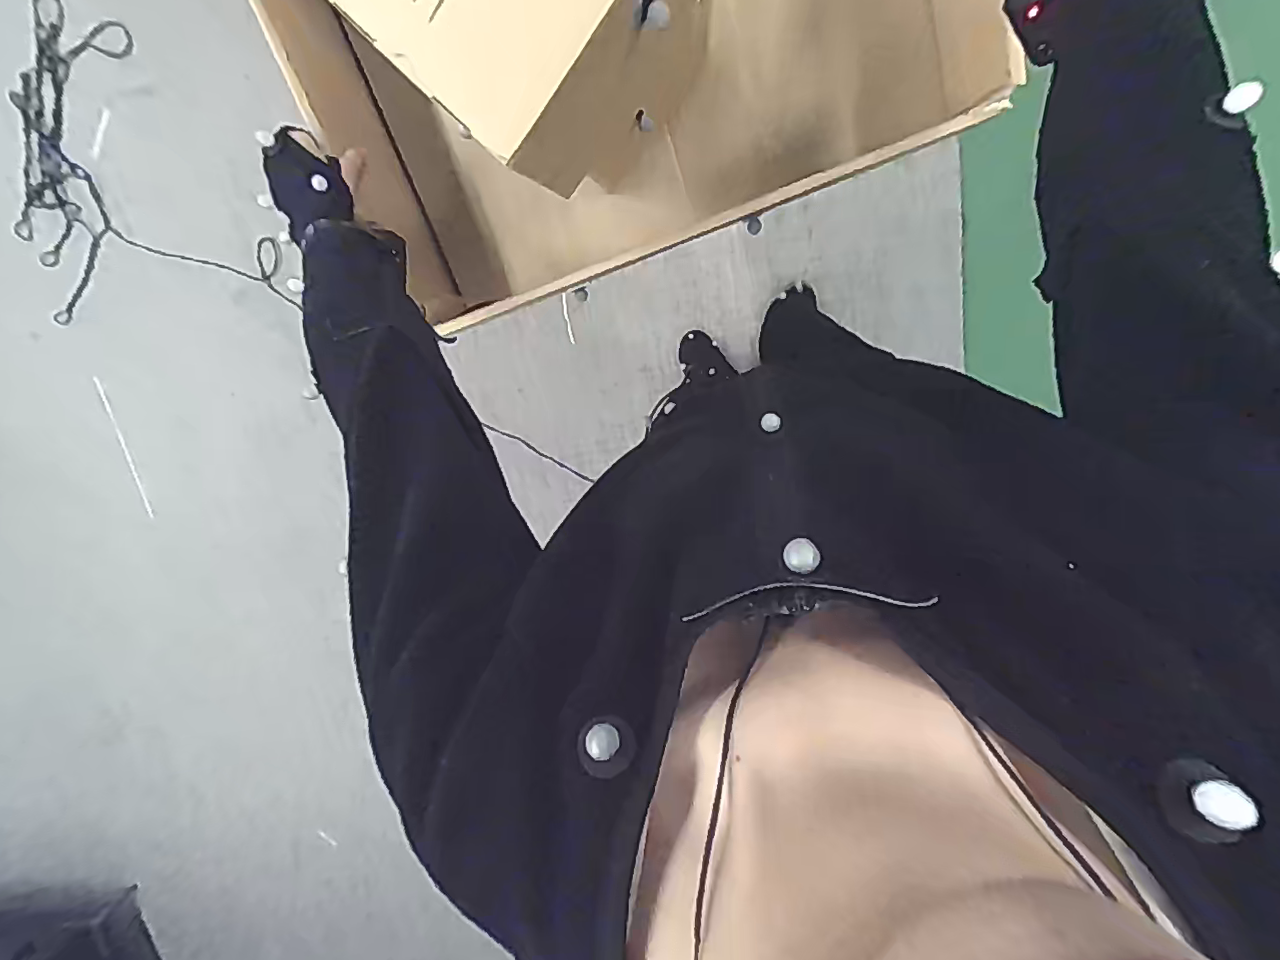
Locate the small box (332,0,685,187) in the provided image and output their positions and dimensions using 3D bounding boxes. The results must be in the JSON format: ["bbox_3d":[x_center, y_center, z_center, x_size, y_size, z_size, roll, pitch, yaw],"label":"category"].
[{"bbox_3d":[-0.081,-0.338,0.371,0.168,0.176,0.179,42,111,-9],"label":"small box"}]
